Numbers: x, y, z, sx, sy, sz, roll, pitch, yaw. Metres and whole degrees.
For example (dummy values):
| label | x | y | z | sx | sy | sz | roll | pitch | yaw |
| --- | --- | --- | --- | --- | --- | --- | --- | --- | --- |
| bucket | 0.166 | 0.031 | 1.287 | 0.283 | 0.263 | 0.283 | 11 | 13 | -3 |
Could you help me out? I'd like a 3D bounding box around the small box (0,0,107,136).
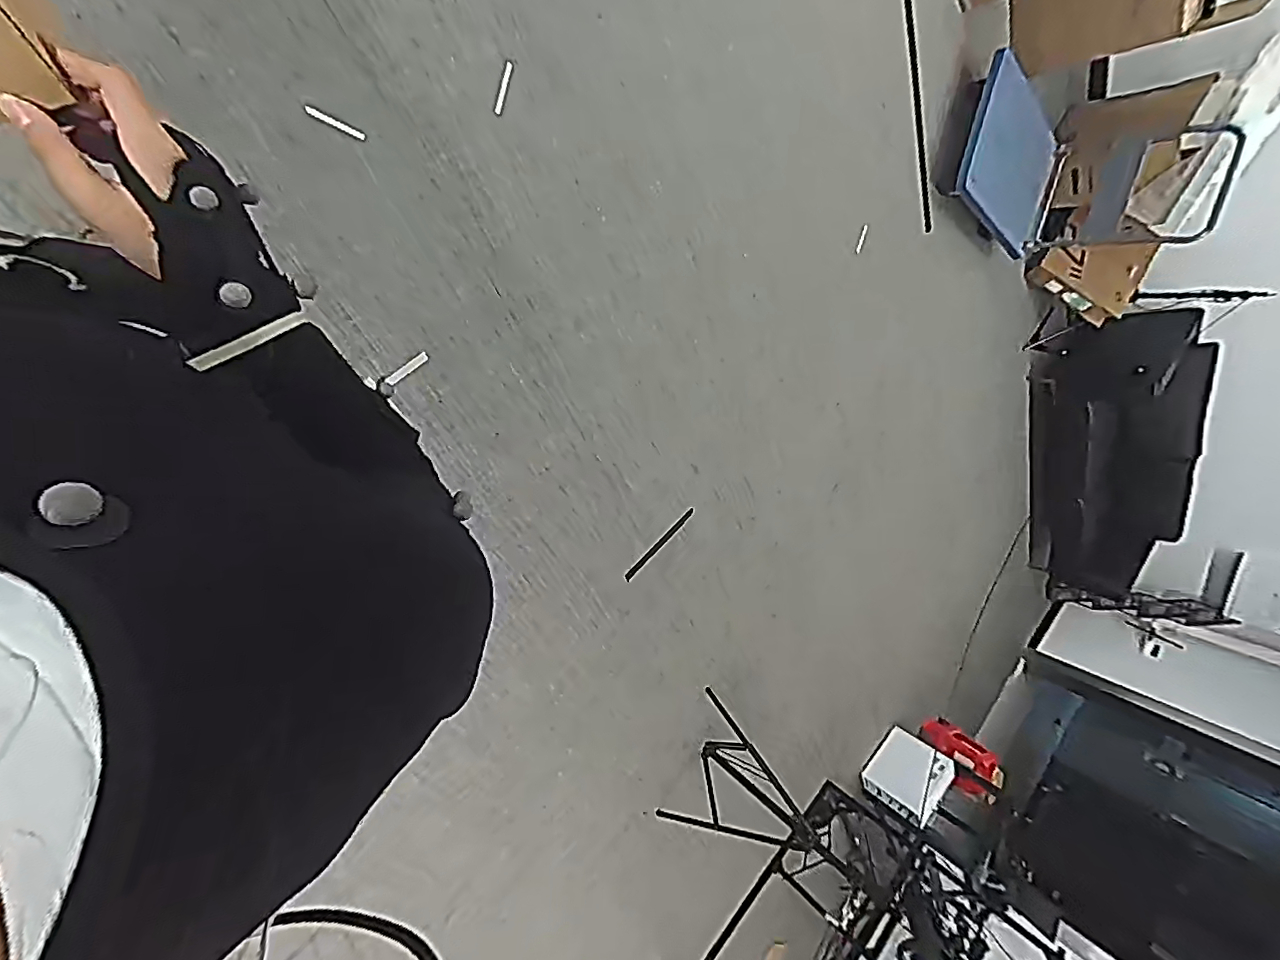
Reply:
| label | x | y | z | sx | sy | sz | roll | pitch | yaw |
| --- | --- | --- | --- | --- | --- | --- | --- | --- | --- |
| small box | -0.396 | -0.260 | 0.227 | 0.168 | 0.176 | 0.179 | -30 | 154 | -14 |
